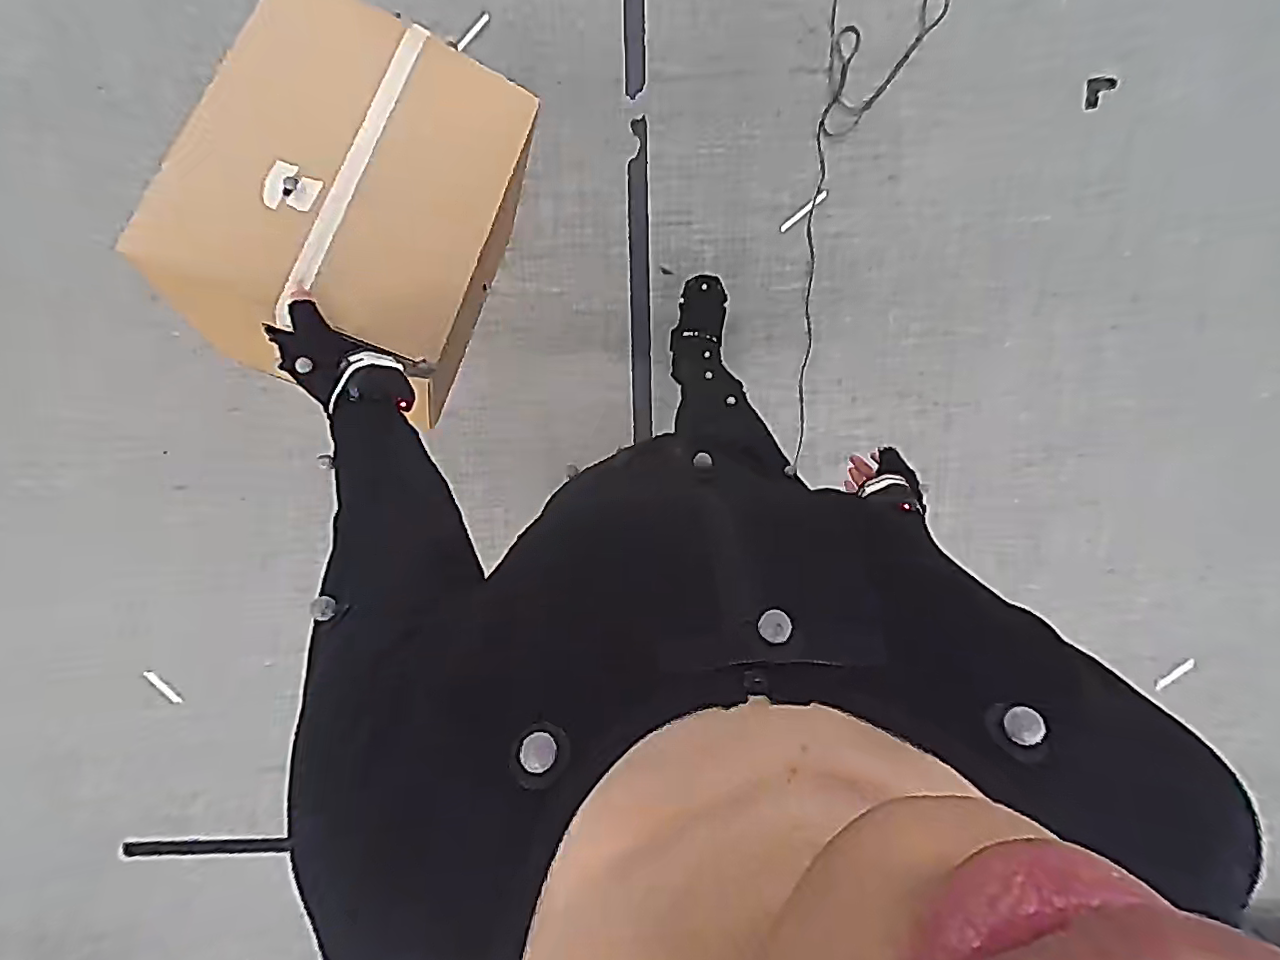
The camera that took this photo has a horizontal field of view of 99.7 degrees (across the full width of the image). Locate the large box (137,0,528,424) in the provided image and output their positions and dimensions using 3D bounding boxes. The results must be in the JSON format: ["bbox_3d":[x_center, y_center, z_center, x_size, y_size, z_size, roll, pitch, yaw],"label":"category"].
[{"bbox_3d":[-0.386,-0.343,0.779,0.320,0.320,0.408,19,76,-17],"label":"large box"}]
